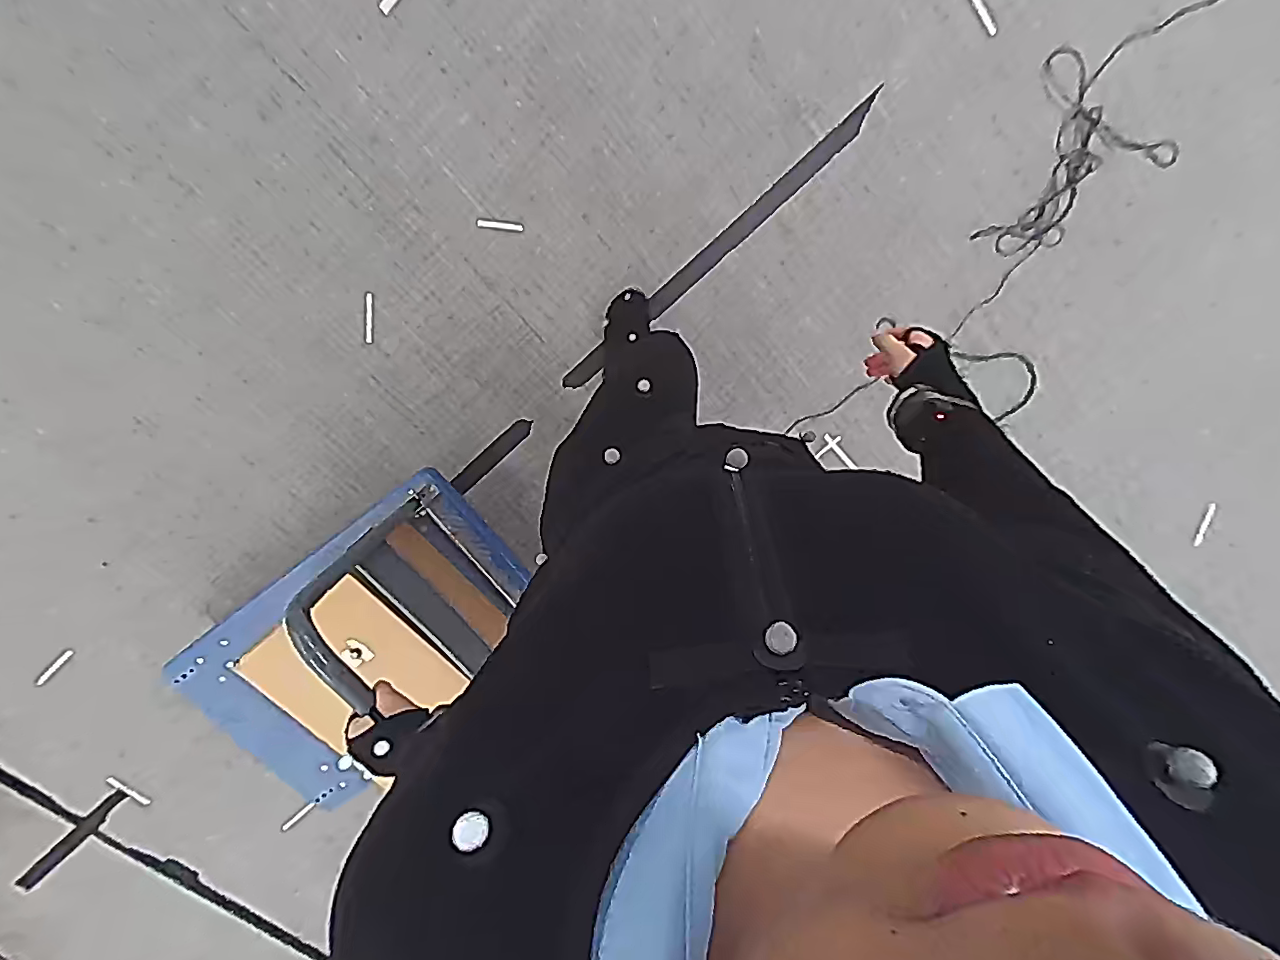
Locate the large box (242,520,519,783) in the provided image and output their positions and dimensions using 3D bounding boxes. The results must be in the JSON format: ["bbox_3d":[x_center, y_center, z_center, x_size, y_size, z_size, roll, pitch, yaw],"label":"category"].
[{"bbox_3d":[-0.537,0.365,1.216,0.320,0.320,0.408,-40,103,5],"label":"large box"}]
